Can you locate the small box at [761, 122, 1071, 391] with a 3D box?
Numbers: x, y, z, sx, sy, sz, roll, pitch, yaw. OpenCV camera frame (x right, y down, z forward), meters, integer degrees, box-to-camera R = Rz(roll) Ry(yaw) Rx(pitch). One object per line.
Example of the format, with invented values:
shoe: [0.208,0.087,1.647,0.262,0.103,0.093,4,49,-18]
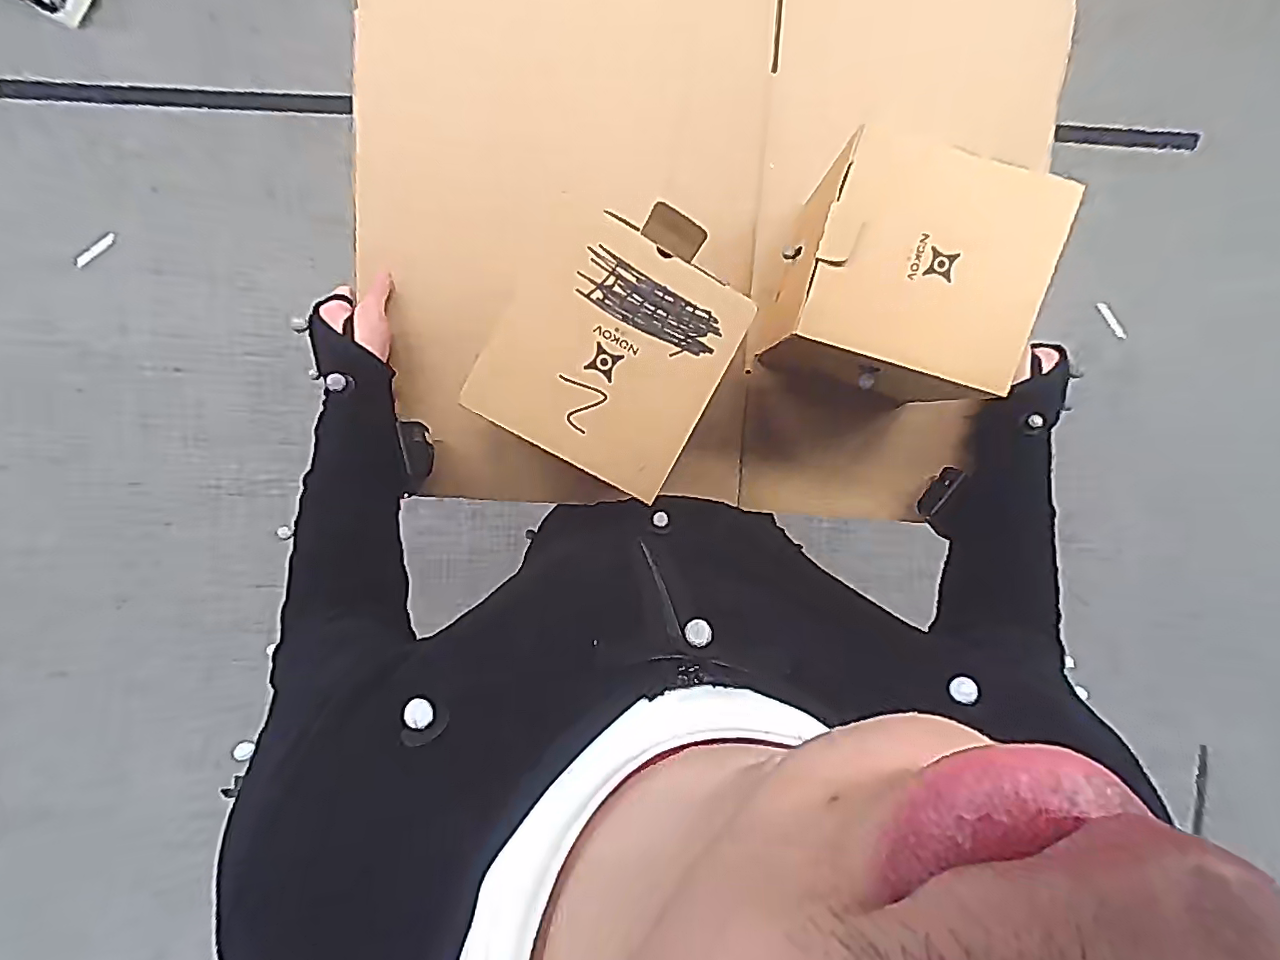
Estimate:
small box: [0.231,-0.185,0.505,0.179,0.176,0.168,17,97,1]
